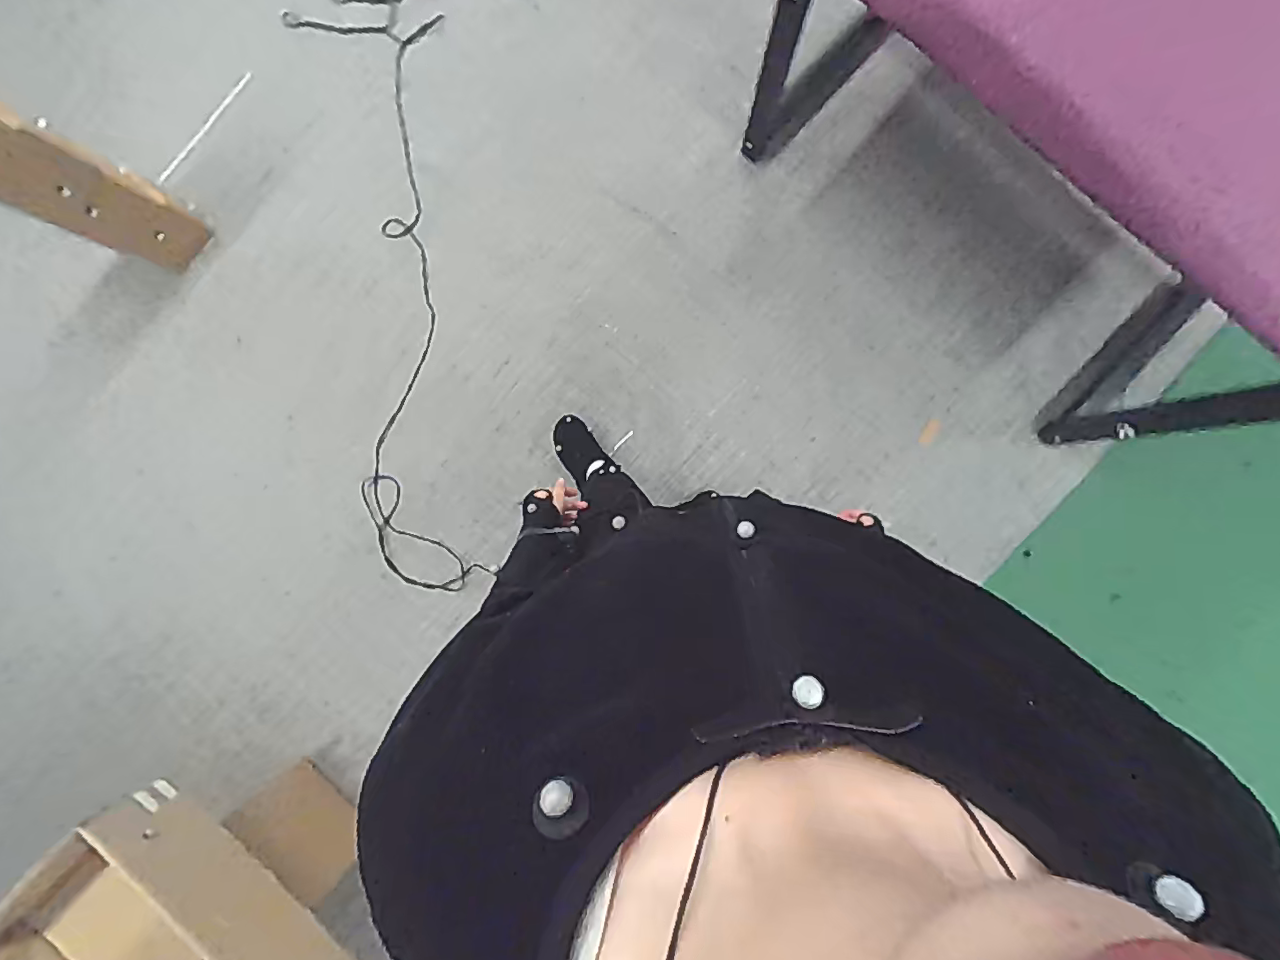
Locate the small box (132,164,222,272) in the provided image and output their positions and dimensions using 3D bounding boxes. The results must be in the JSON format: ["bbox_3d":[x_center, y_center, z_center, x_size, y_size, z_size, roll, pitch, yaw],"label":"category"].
[{"bbox_3d":[-1.331,-0.719,1.507,0.168,0.176,0.179,42,91,2],"label":"small box"}]

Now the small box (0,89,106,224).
[{"bbox_3d":[-1.340,-0.707,1.180,0.168,0.176,0.179,40,91,2],"label":"small box"}]

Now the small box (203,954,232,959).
[{"bbox_3d":[-0.870,1.070,1.031,0.168,0.176,0.179,-45,87,1],"label":"small box"}]

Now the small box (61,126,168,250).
[{"bbox_3d":[-1.346,-0.713,1.344,0.168,0.176,0.179,42,92,1],"label":"small box"}]

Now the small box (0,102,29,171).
[{"bbox_3d":[-1.349,-0.702,1.018,0.179,0.176,0.168,40,92,1],"label":"small box"}]
